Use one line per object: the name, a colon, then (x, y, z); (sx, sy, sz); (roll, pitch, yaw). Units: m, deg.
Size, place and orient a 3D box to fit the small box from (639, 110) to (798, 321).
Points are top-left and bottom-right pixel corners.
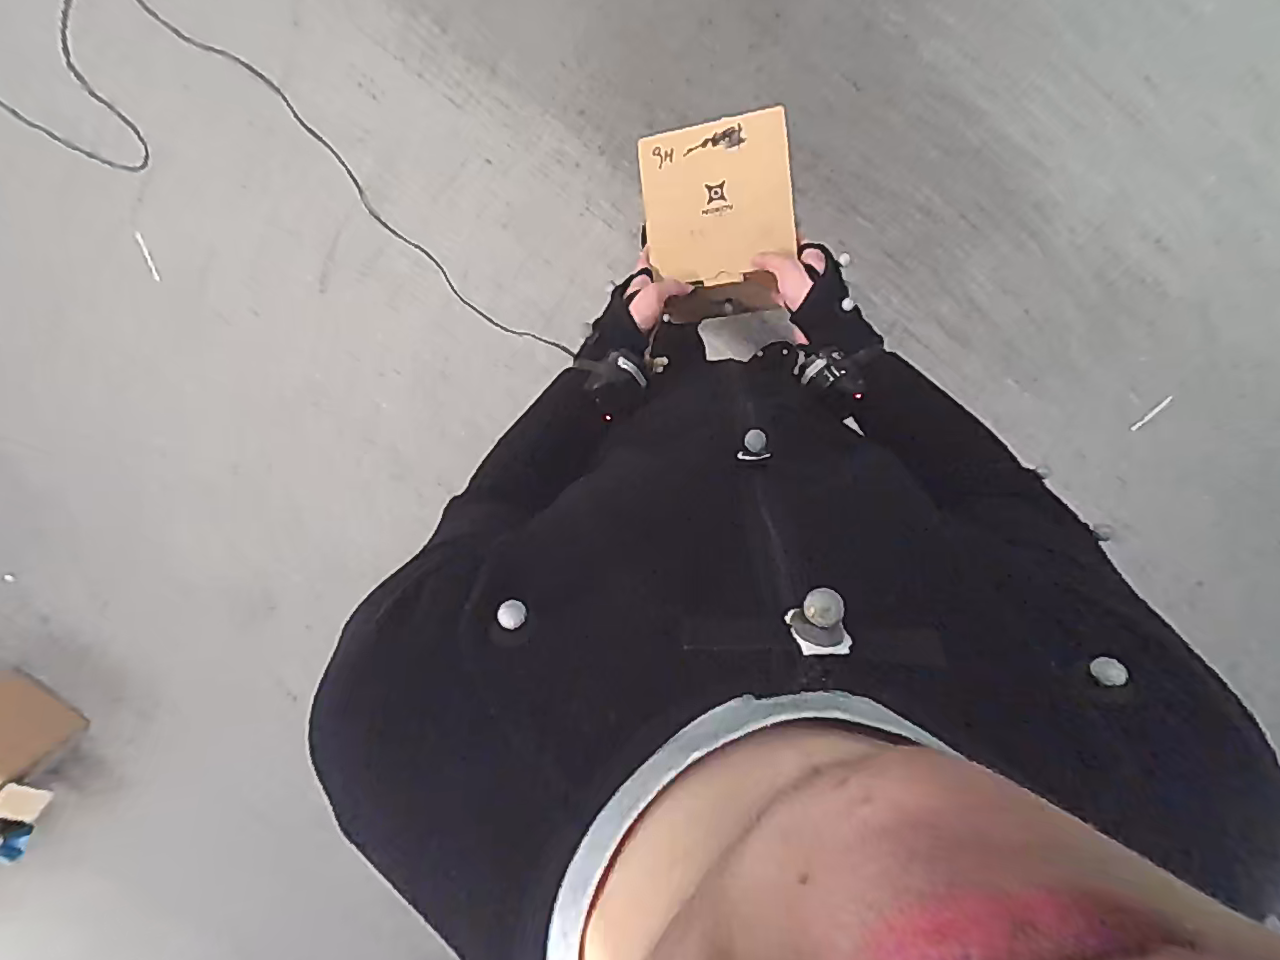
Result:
small box: (0.102, -0.304, 0.668); (0.168, 0.176, 0.179); (-5, 92, 12)
